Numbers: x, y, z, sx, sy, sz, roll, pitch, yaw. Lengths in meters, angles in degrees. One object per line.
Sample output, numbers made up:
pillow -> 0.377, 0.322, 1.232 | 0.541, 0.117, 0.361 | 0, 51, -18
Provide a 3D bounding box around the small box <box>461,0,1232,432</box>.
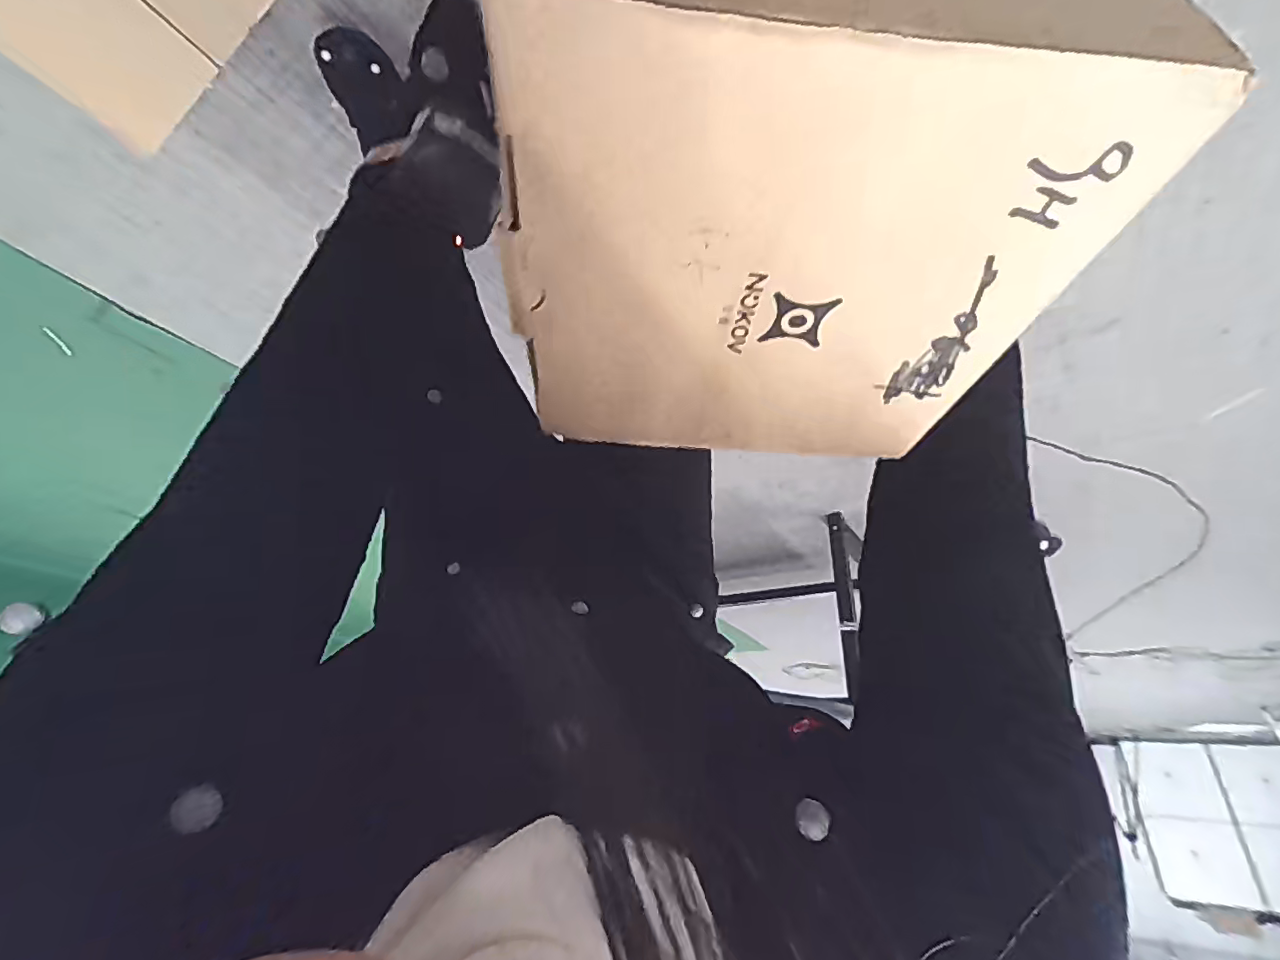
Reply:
small box -> 0.046, -0.140, 0.225 | 0.179, 0.176, 0.168 | 3, 149, 0
